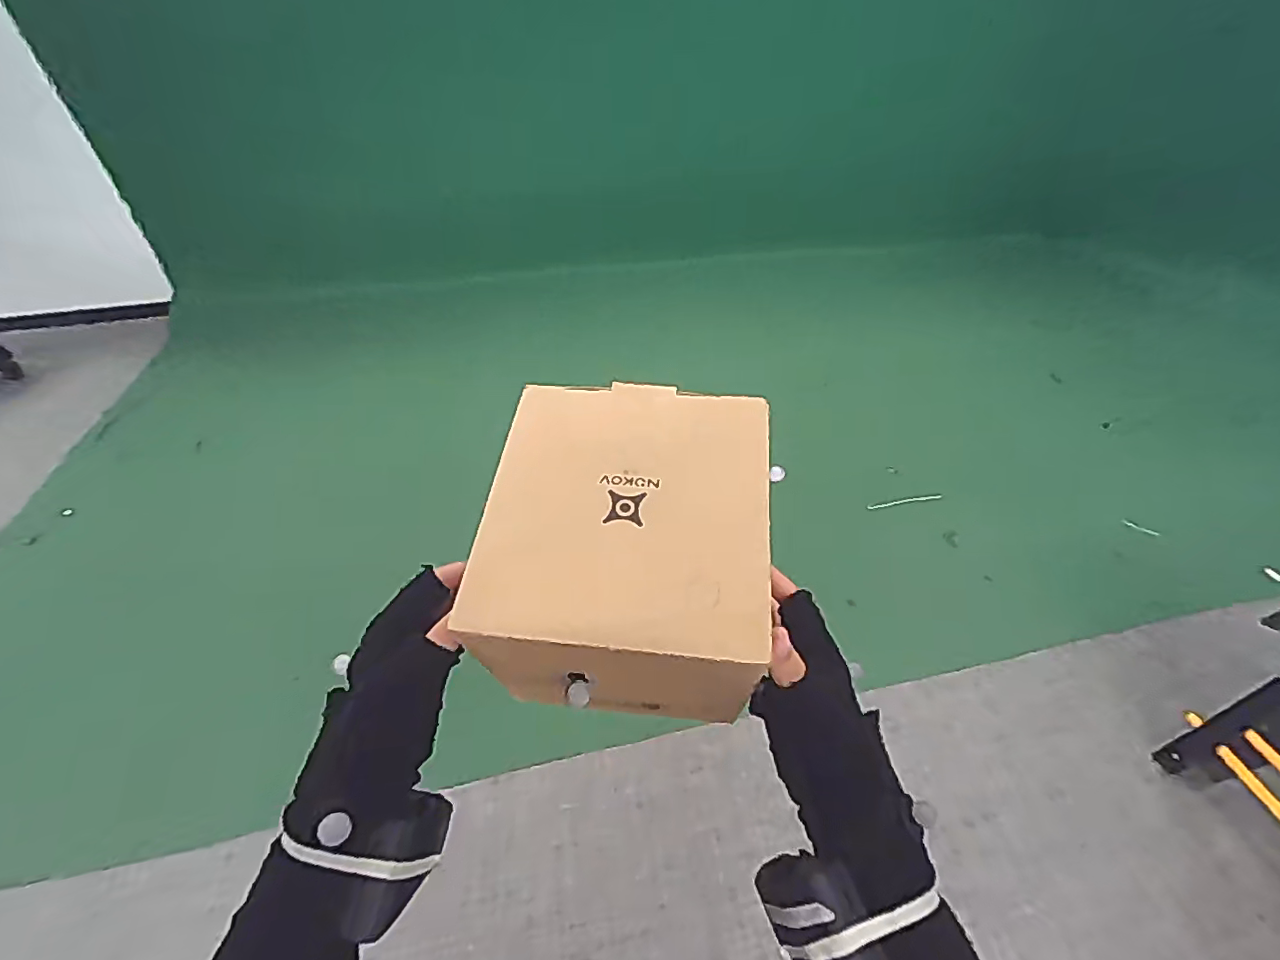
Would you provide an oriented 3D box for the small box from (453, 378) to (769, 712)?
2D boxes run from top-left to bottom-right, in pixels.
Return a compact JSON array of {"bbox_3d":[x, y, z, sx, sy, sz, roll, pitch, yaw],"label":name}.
[{"bbox_3d":[-0.003,0.053,0.382,0.168,0.176,0.179,5,56,6],"label":"small box"}]
